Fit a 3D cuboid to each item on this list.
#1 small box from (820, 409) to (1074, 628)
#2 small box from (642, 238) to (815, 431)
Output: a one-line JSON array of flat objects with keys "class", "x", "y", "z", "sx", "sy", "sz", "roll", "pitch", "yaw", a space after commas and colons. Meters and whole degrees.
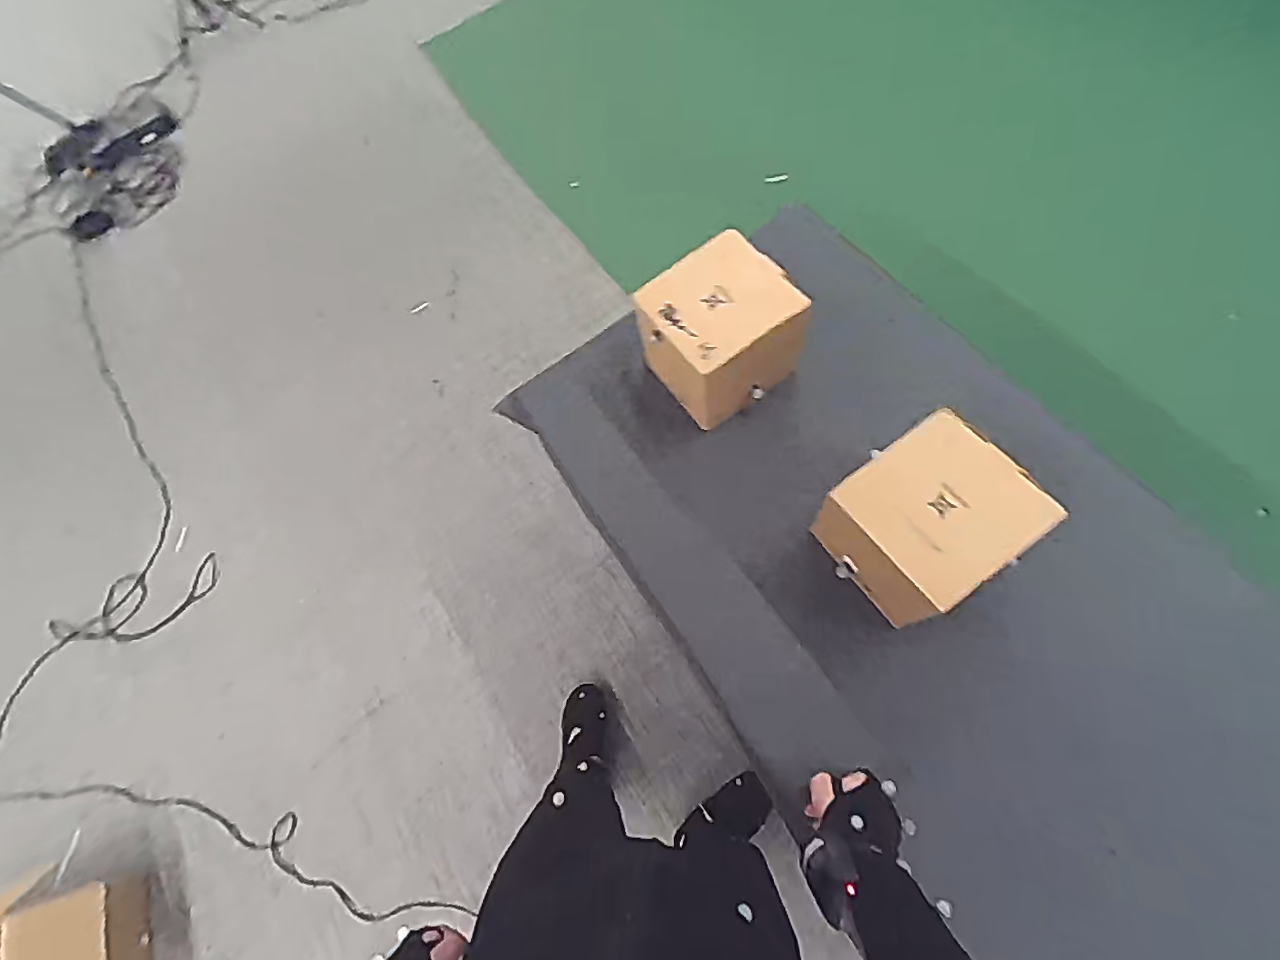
[{"class": "small box", "x": 0.338, "y": 0.055, "z": 0.642, "sx": 0.179, "sy": 0.176, "sz": 0.168, "roll": -36, "pitch": 67, "yaw": -4}, {"class": "small box", "x": 0.124, "y": -0.204, "z": 0.794, "sx": 0.179, "sy": 0.176, "sz": 0.168, "roll": -33, "pitch": 68, "yaw": -5}]
